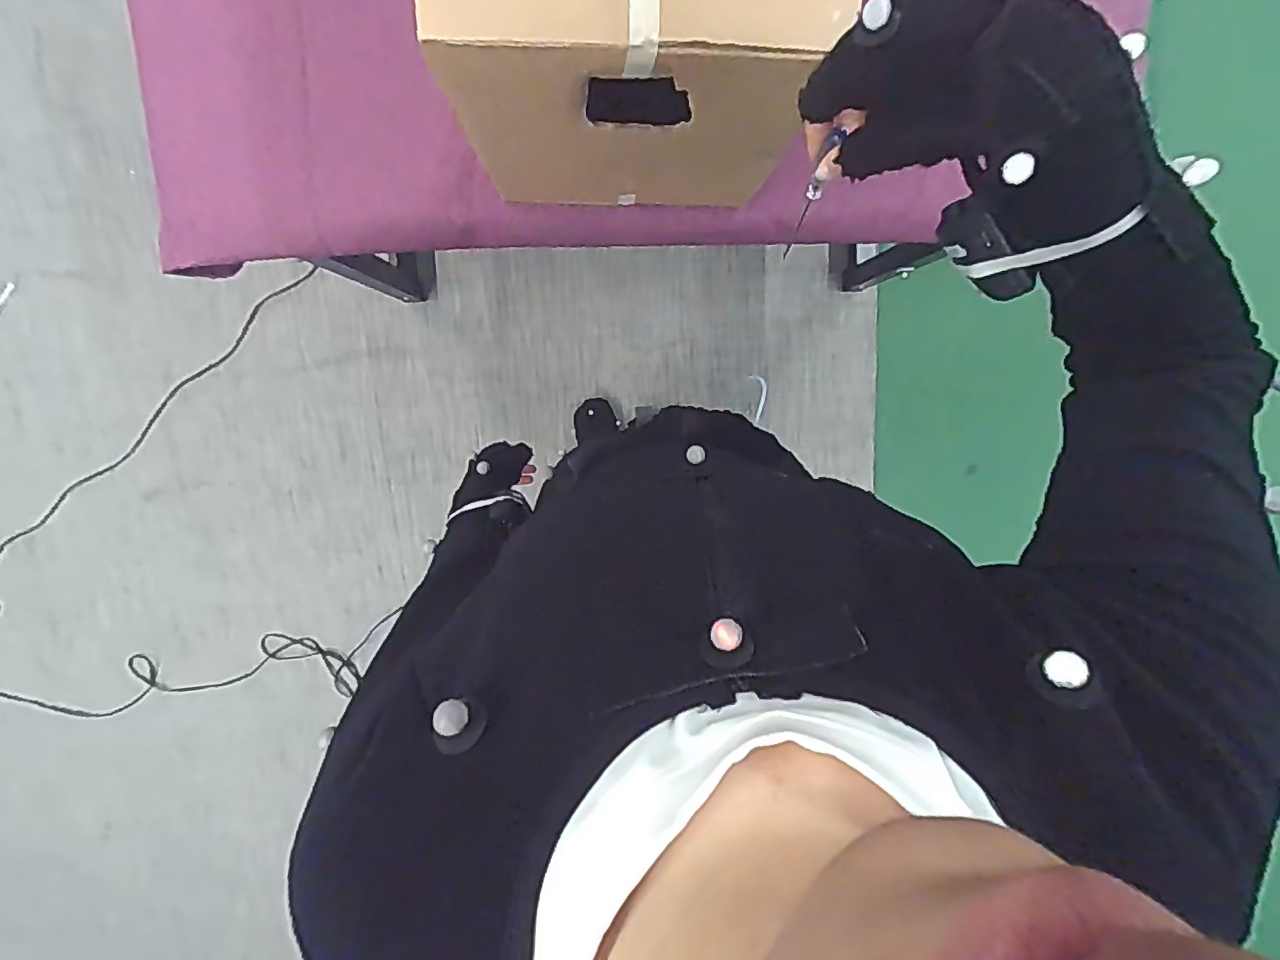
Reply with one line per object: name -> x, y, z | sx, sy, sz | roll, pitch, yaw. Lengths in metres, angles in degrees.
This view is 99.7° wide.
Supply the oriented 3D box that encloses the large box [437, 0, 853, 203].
large box -> -0.004, -0.531, 0.514 | 0.320, 0.320, 0.408 | 0, 100, -3
